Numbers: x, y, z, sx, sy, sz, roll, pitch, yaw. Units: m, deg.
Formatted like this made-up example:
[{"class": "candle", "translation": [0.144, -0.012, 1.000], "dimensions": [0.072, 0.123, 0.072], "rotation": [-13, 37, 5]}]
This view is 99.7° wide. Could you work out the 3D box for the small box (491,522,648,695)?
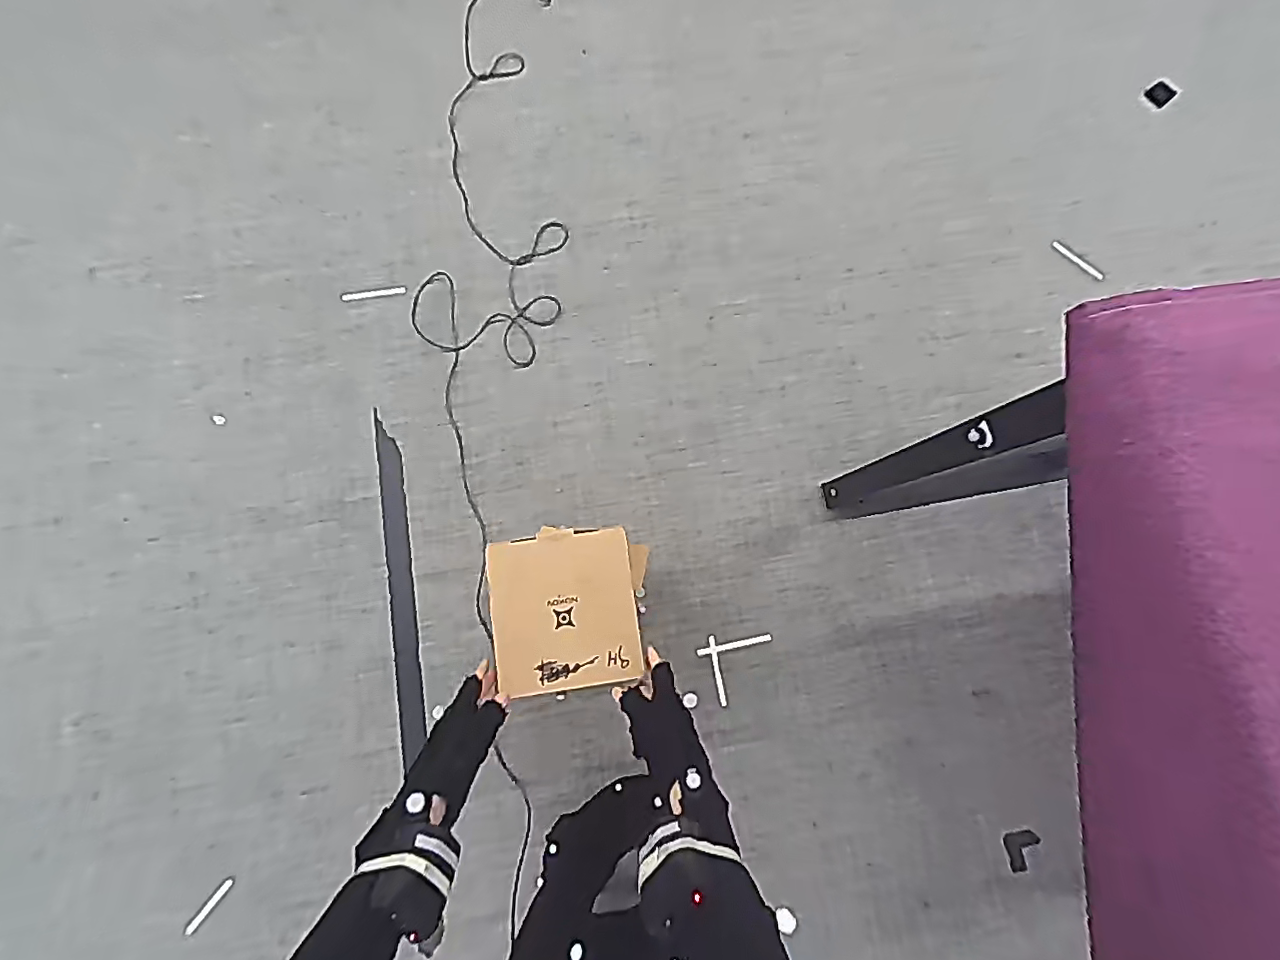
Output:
[{"class": "small box", "translation": [-0.086, 0.158, 0.690], "dimensions": [0.168, 0.176, 0.179], "rotation": [-8, 80, -4]}]
